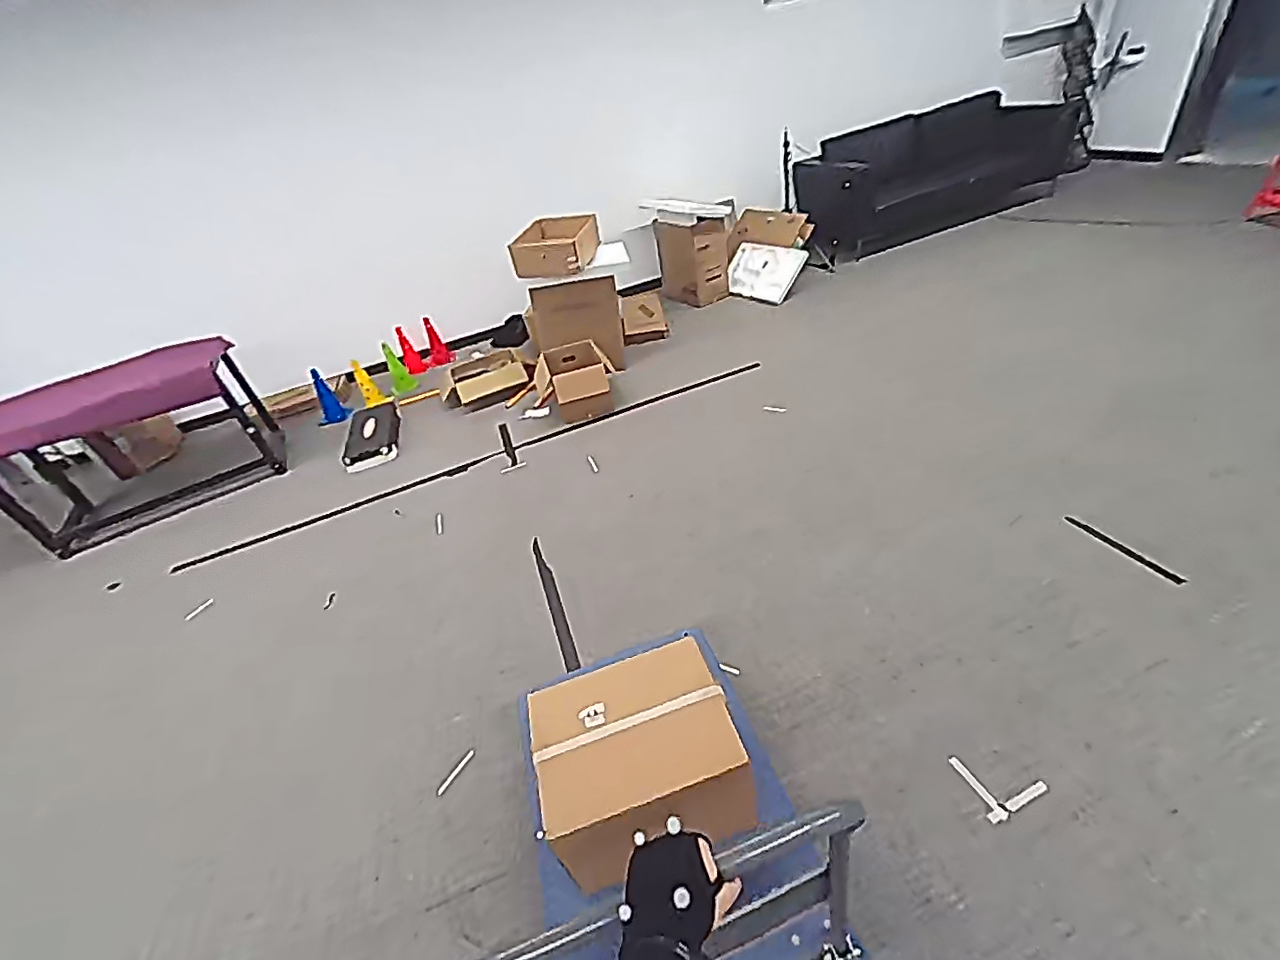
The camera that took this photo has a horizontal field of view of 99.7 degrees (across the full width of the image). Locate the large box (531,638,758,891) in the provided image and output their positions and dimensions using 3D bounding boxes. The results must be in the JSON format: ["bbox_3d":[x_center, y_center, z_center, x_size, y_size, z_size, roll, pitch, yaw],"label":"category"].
[{"bbox_3d":[0.009,0.633,1.221,0.408,0.320,0.320,-19,35,-6],"label":"large box"}]
